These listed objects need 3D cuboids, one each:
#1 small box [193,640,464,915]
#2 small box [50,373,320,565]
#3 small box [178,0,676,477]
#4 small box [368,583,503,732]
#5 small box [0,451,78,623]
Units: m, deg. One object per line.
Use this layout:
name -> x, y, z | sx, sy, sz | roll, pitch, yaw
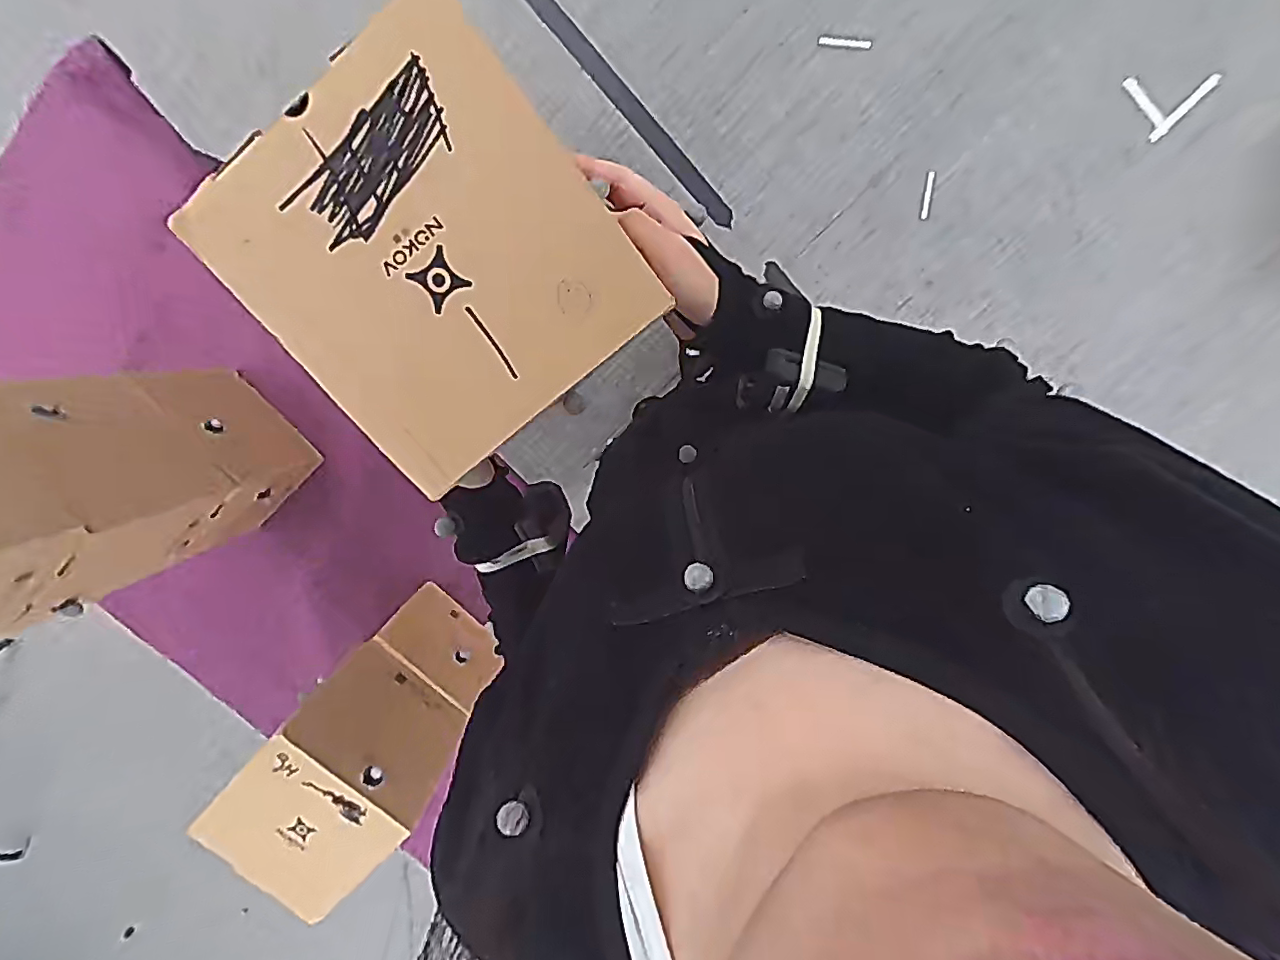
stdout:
small box -> -0.333, 0.324, 0.615 | 0.168, 0.176, 0.179 | 43, 104, -8
small box -> -0.574, -0.026, 0.710 | 0.168, 0.176, 0.179 | -41, 98, 11
small box -> -0.099, -0.132, 0.331 | 0.168, 0.176, 0.179 | -37, 103, 9
small box -> -0.318, 0.280, 0.773 | 0.168, 0.176, 0.179 | 44, 103, -8
small box -> -0.595, 0.044, 0.388 | 0.168, 0.176, 0.179 | -42, 99, 12
